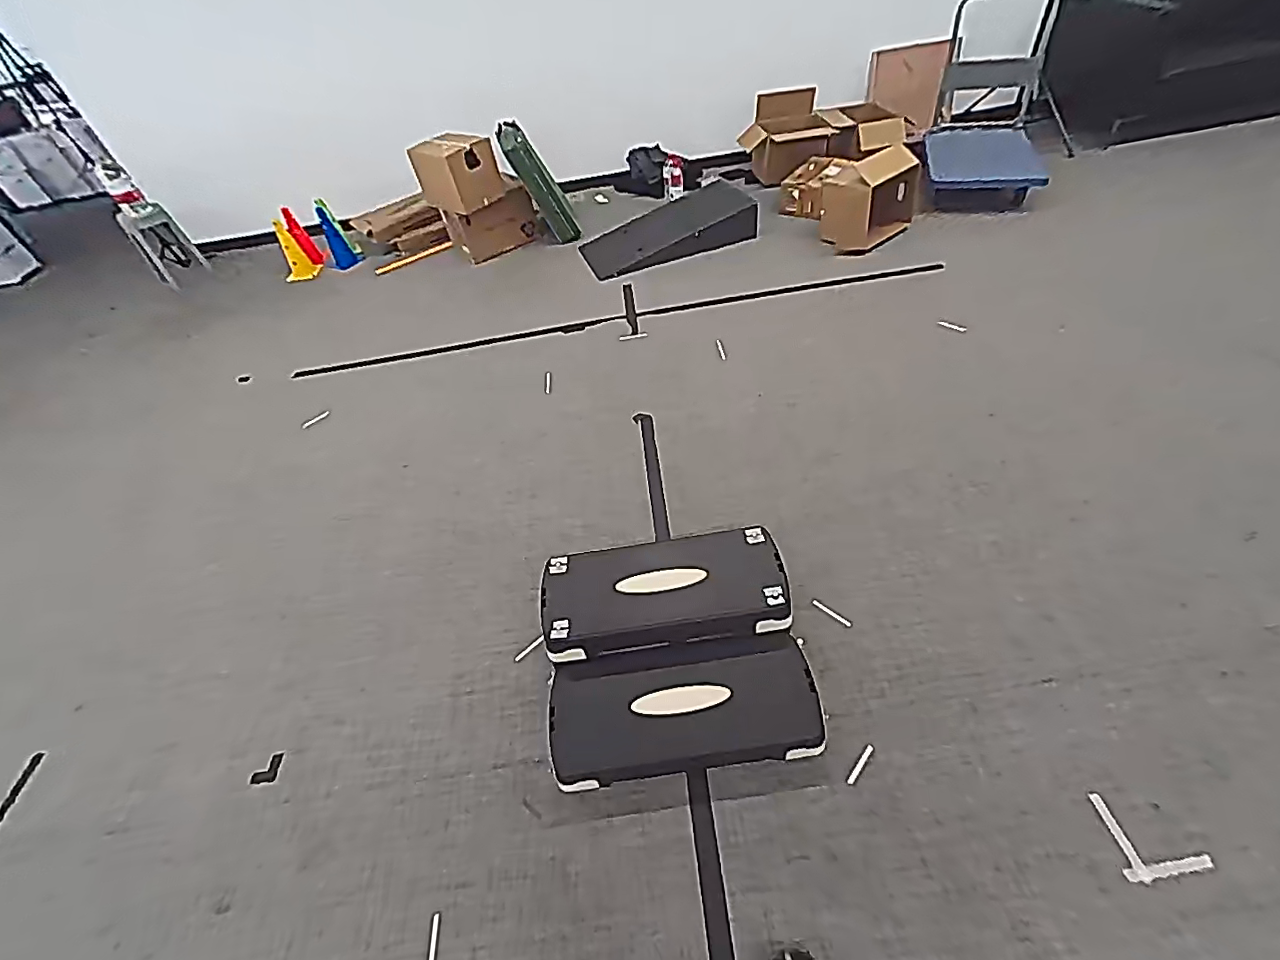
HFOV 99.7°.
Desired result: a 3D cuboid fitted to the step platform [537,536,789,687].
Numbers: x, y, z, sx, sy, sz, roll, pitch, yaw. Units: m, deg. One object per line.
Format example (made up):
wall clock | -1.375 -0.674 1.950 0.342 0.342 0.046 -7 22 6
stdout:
step platform | 0.059 0.358 1.511 0.684 0.204 0.286 -9 47 0
